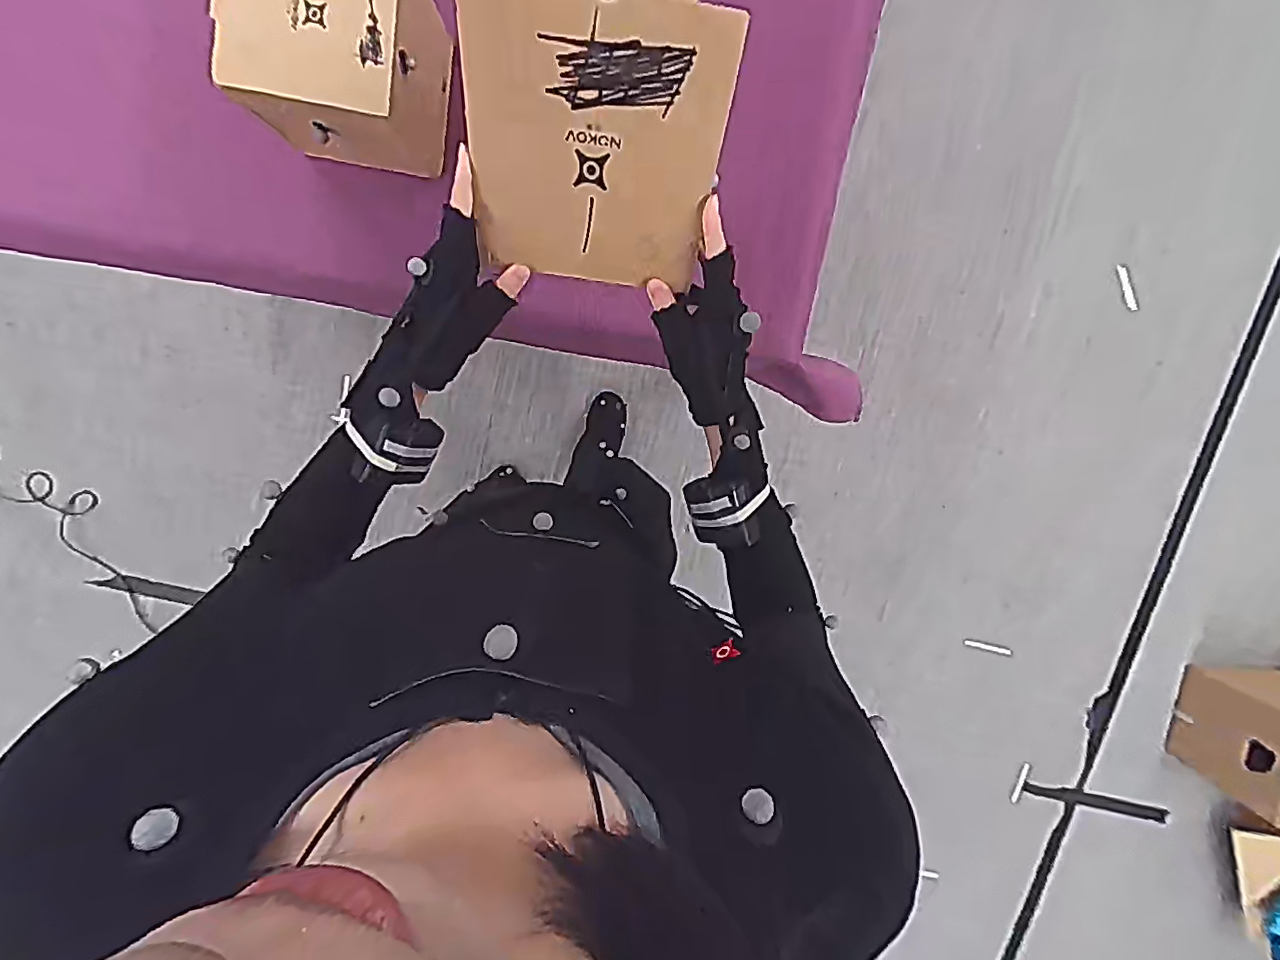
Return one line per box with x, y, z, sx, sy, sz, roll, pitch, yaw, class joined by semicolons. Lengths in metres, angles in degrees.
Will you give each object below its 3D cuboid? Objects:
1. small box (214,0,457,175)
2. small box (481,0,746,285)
-0.327;-0.473;0.610;0.179;0.176;0.168;9;98;-3;small box
-0.028;-0.278;0.441;0.168;0.176;0.179;7;121;-5;small box
